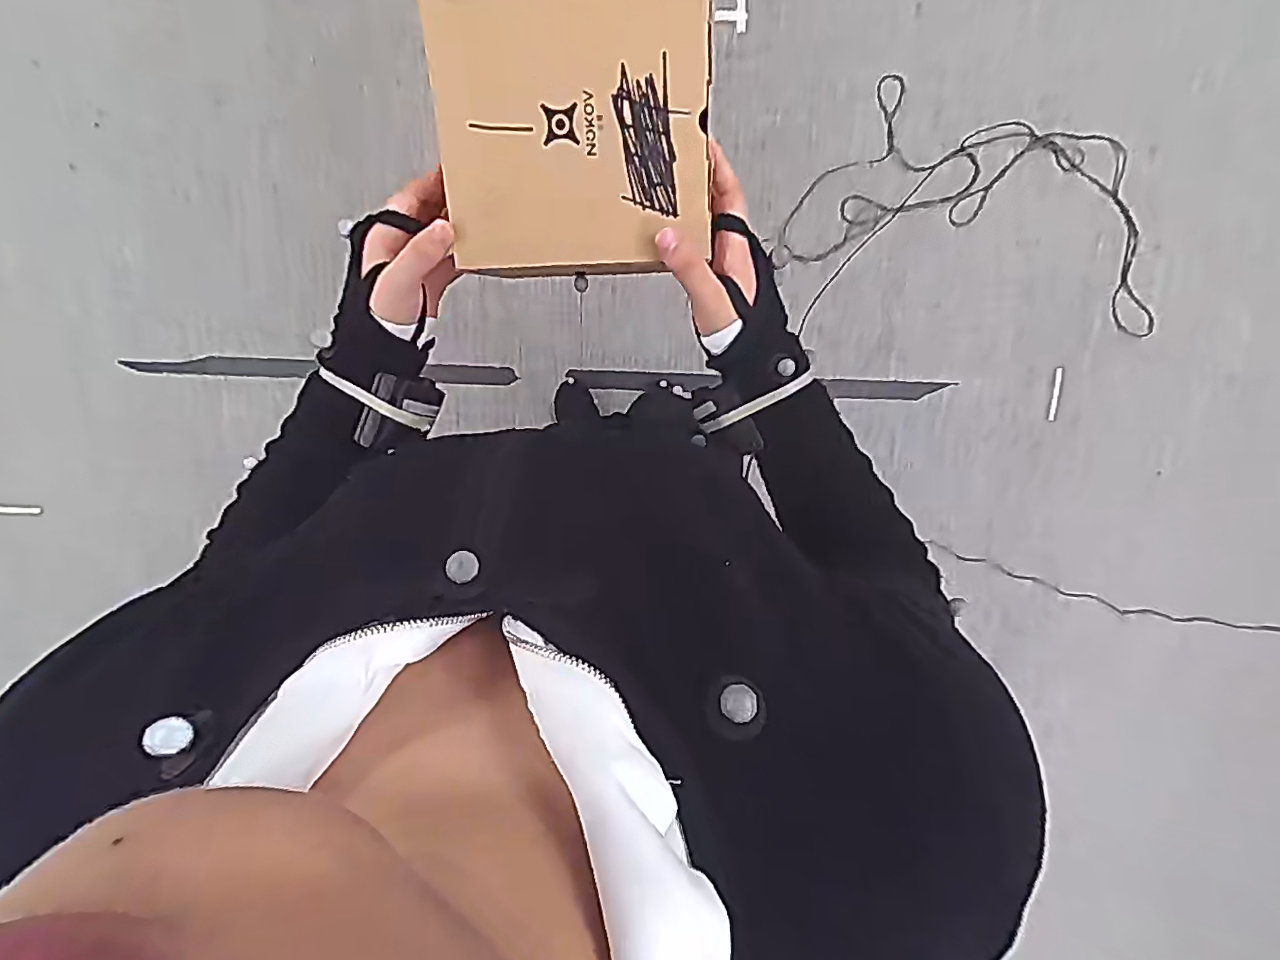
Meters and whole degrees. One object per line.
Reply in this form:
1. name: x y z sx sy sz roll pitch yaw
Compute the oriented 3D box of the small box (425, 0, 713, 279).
1. small box: -0.043 -0.249 0.423 0.179 0.176 0.168 -2 108 0
